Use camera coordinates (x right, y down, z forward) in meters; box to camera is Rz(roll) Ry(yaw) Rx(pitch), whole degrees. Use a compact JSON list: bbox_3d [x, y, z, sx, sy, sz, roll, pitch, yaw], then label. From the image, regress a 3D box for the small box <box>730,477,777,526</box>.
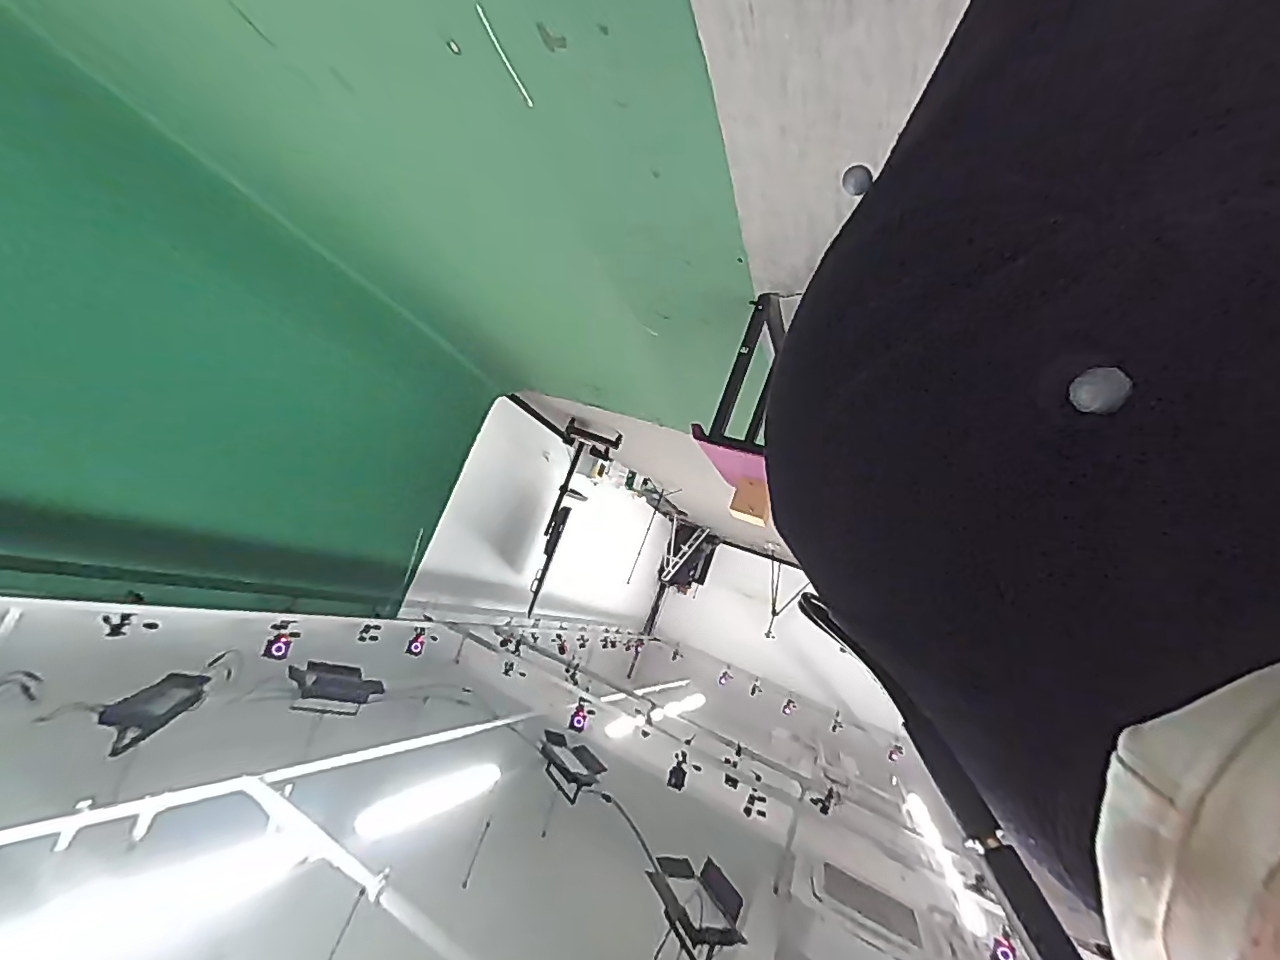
[{"bbox_3d":[0.538,0.102,2.542,0.168,0.176,0.179,16,170,22],"label":"small box"}]
